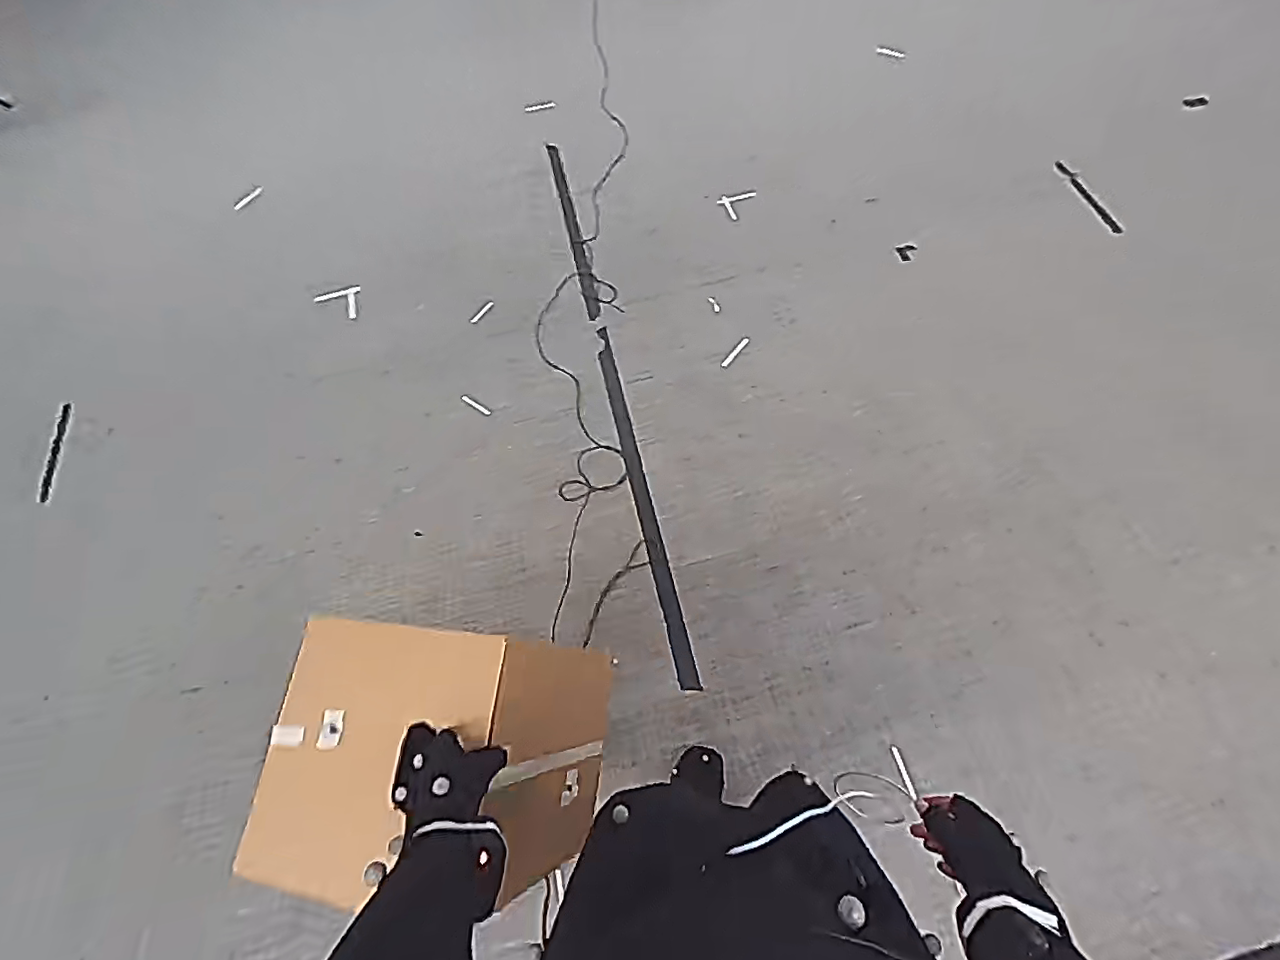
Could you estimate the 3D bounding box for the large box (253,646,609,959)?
[{"bbox_3d":[-0.266,0.428,0.831,0.320,0.408,0.320,0,70,16],"label":"large box"}]
